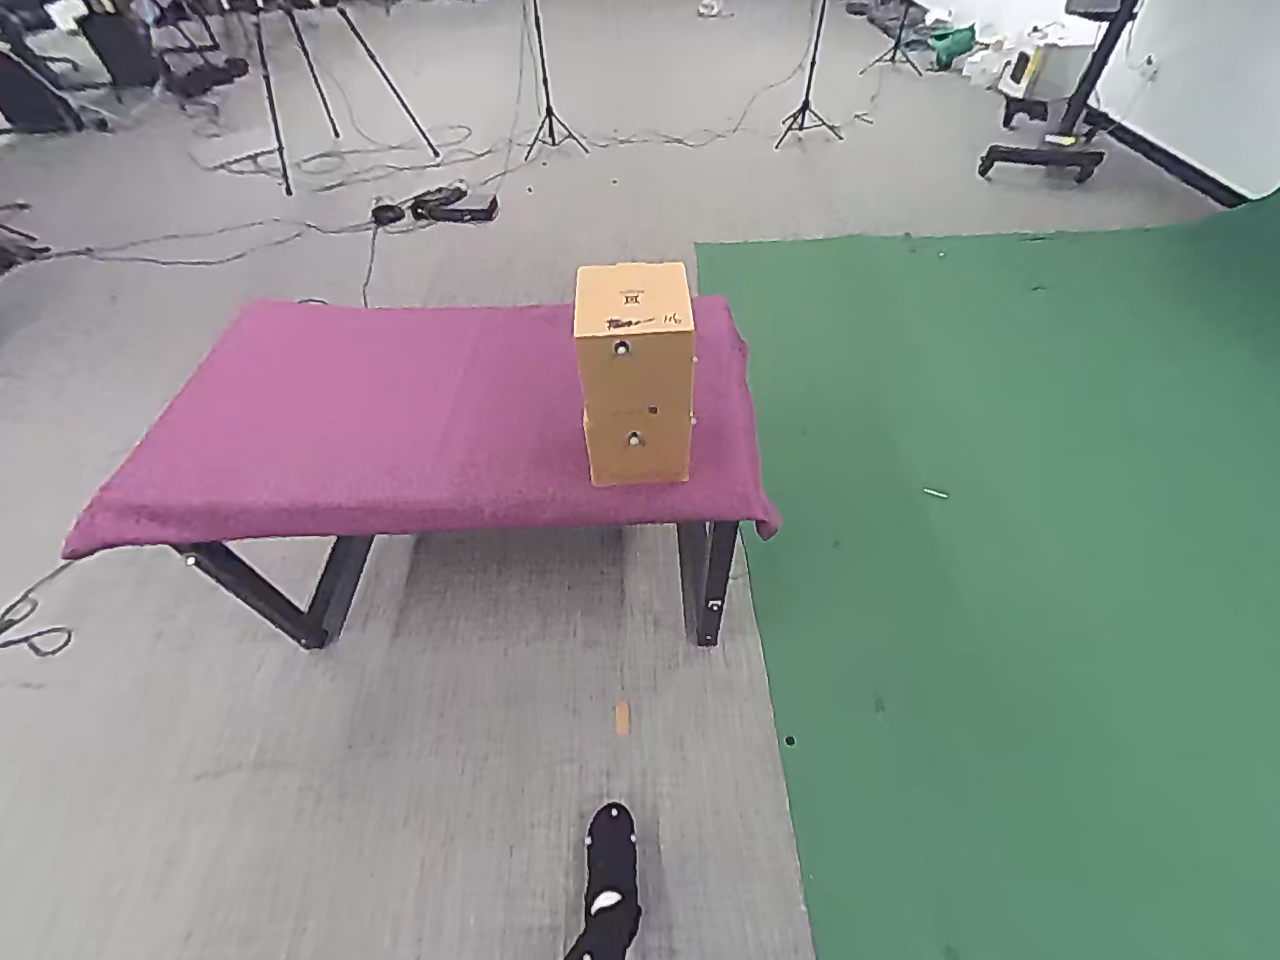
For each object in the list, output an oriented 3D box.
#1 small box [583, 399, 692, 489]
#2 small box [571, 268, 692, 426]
[{"bbox_3d":[-0.003,-0.100,0.970,0.179,0.176,0.168,-5,52,1],"label":"small box"},{"bbox_3d":[-0.009,-0.205,0.844,0.168,0.176,0.179,-4,51,2],"label":"small box"}]
